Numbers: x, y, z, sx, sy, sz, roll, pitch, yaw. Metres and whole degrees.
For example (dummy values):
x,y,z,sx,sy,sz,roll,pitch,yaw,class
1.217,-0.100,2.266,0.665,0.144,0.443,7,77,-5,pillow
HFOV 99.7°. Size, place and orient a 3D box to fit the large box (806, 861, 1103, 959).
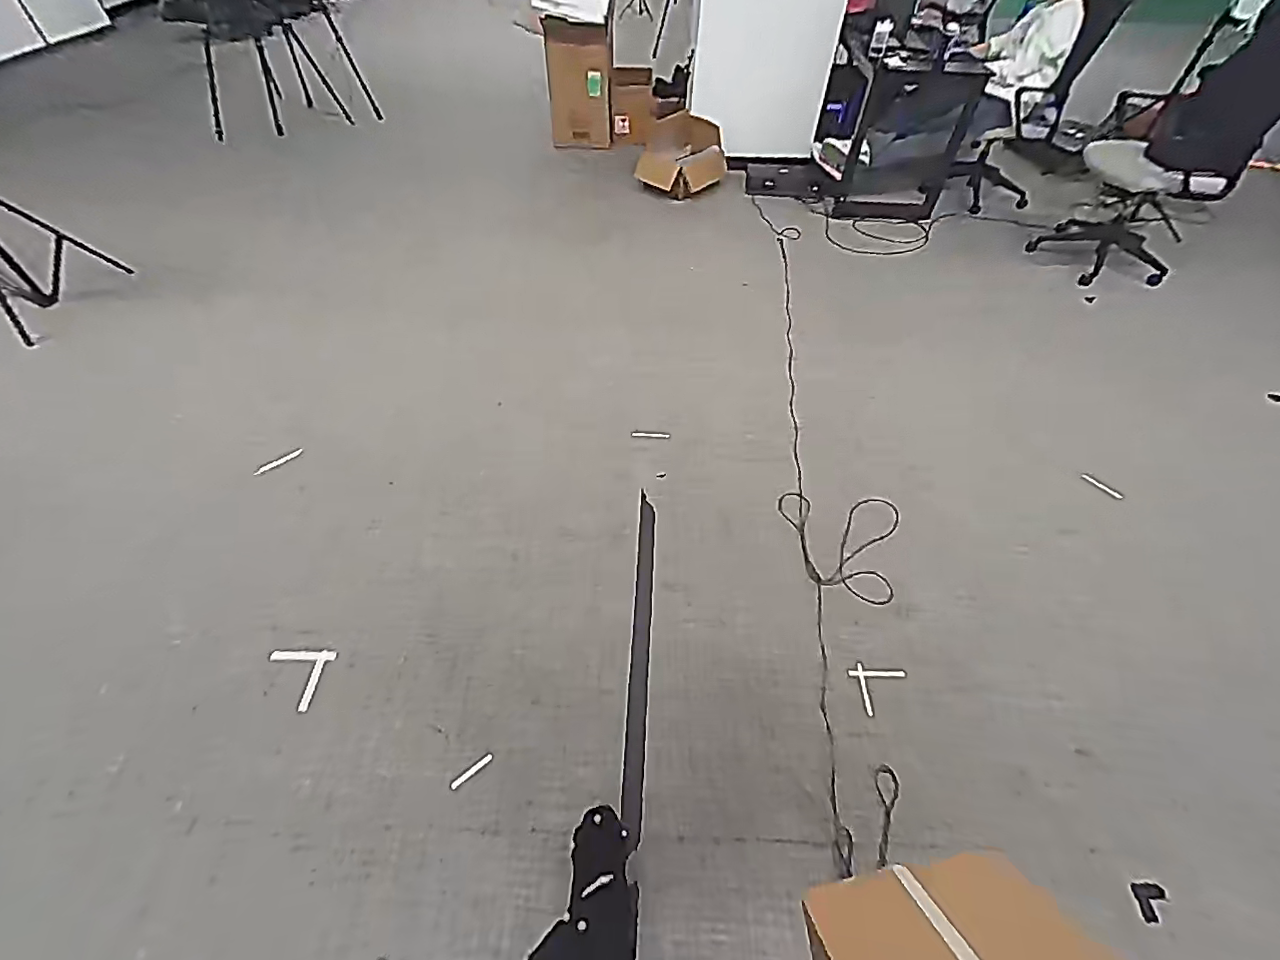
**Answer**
x,y,z,sx,sy,sz,roll,pitch,yaw,class
0.428,0.743,0.617,0.320,0.408,0.320,-10,88,-3,large box
